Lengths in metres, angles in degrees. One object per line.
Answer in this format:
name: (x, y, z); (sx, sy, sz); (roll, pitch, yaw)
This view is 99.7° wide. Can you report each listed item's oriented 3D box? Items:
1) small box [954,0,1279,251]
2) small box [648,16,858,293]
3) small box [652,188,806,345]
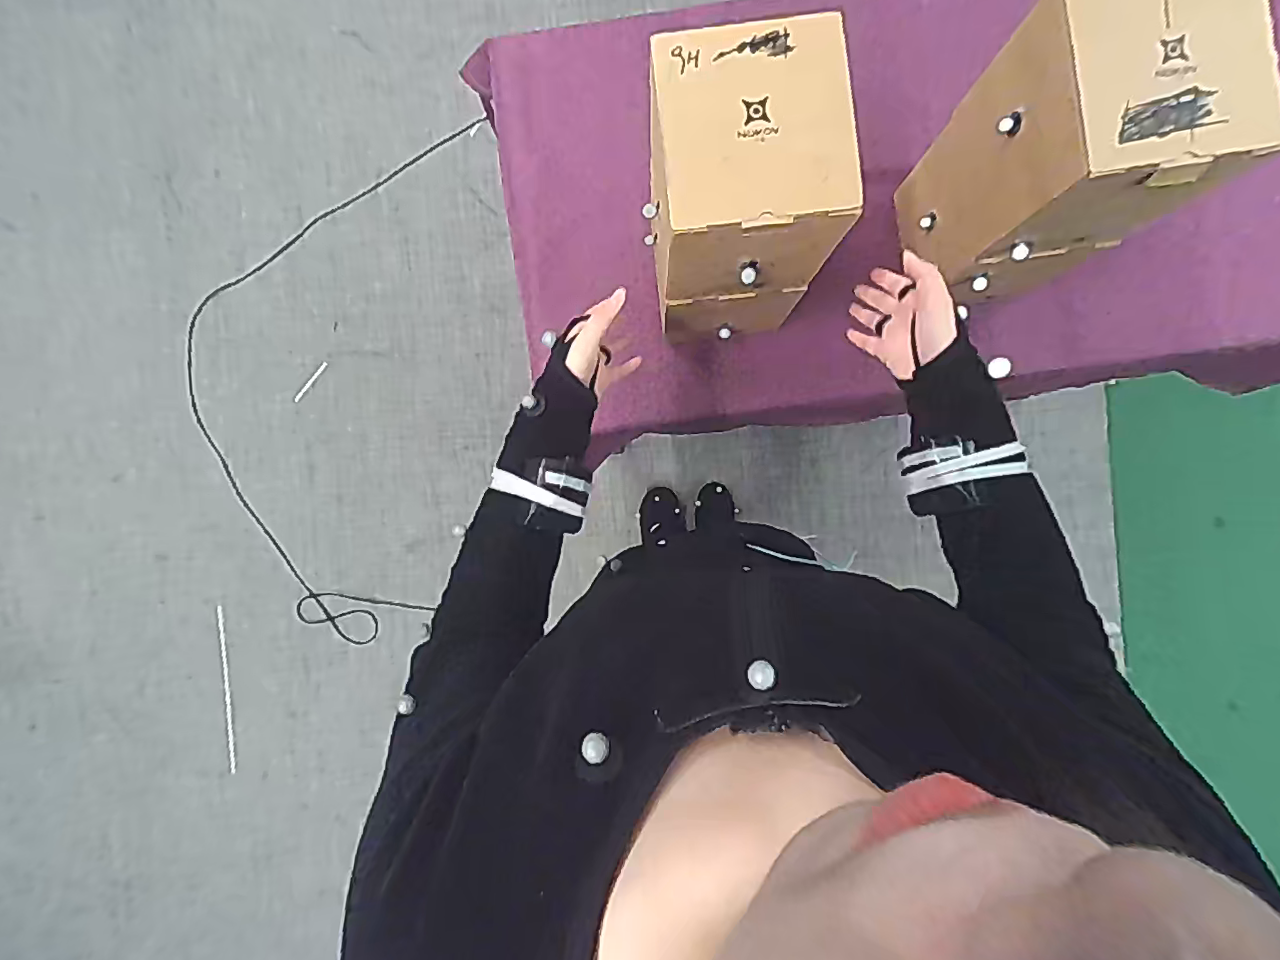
small box: (0.442, -0.345, 0.532); (0.168, 0.176, 0.179); (-7, 87, 2)
small box: (0.099, -0.299, 0.541); (0.168, 0.176, 0.179); (-6, 89, 1)
small box: (0.104, -0.292, 0.705); (0.168, 0.176, 0.179); (-6, 88, 2)
